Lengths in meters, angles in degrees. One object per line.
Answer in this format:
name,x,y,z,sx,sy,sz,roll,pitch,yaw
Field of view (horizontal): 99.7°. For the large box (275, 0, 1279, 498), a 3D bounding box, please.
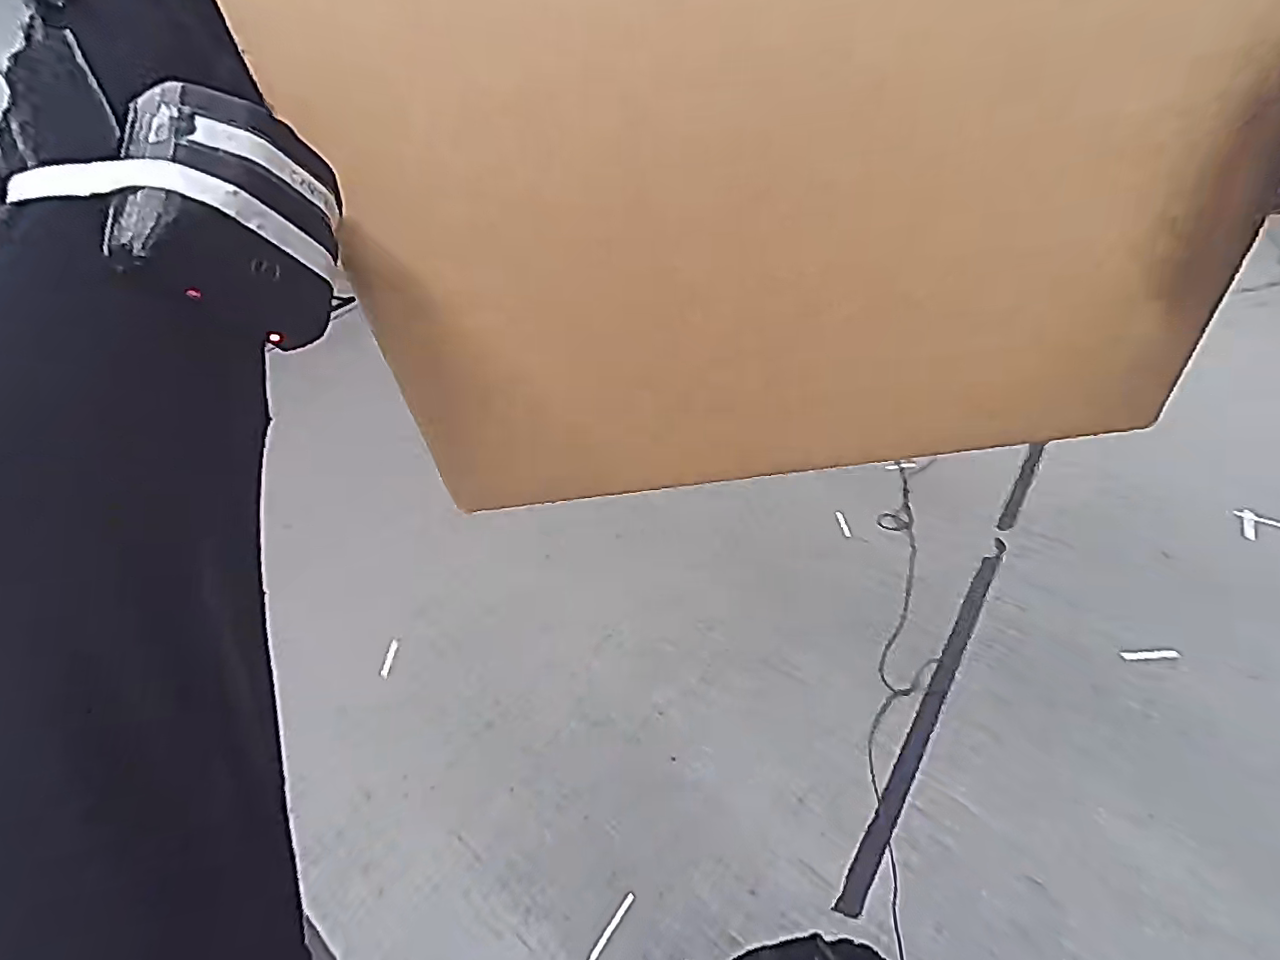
large box,0.066,-0.217,0.354,0.408,0.320,0.320,-7,38,3
